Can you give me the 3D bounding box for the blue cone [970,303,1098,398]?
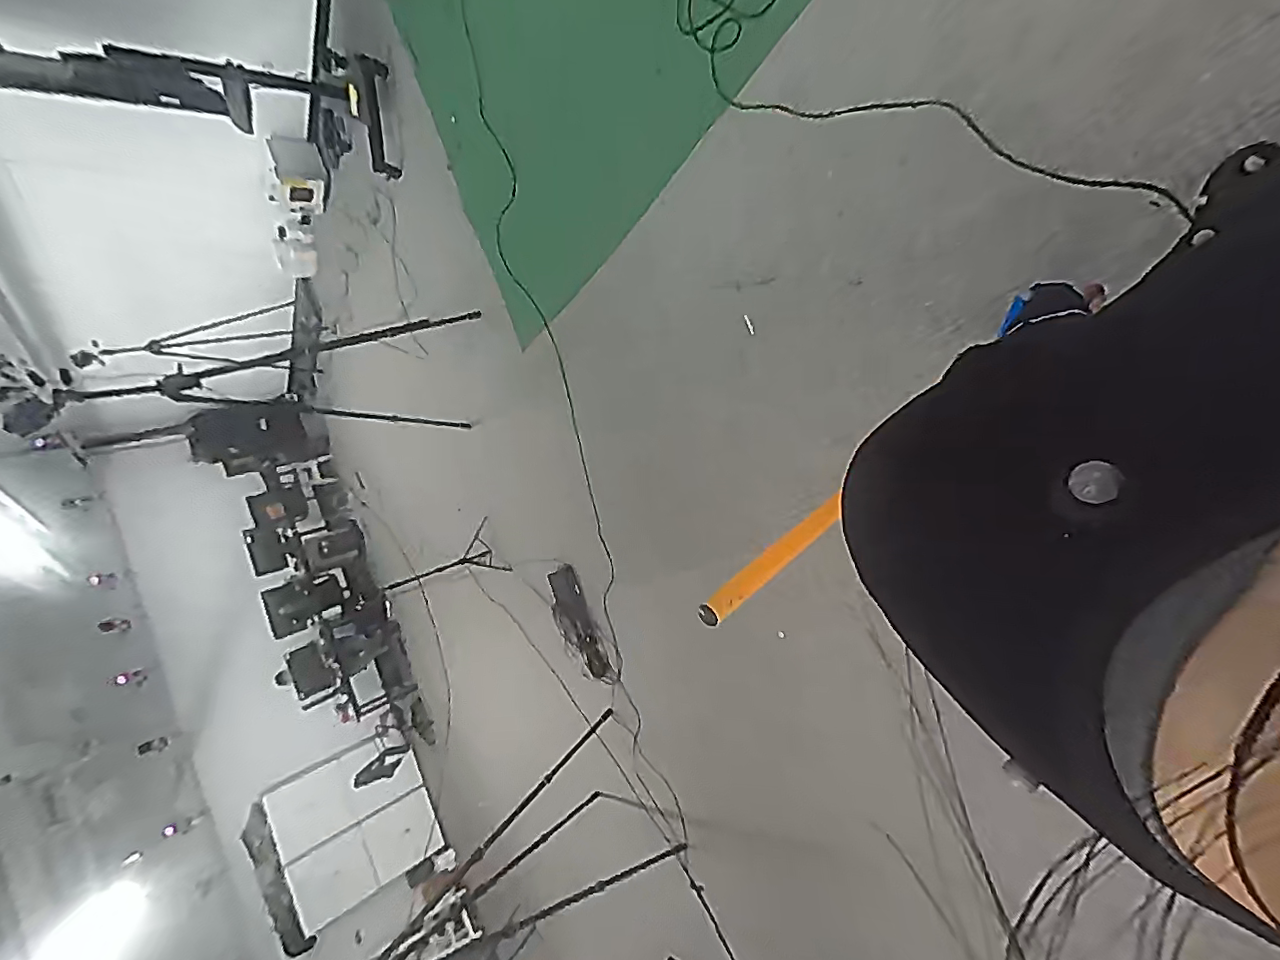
[{"bbox_3d":[0.778,-0.245,1.118,0.192,0.380,0.193,31,128,37],"label":"blue cone"}]
